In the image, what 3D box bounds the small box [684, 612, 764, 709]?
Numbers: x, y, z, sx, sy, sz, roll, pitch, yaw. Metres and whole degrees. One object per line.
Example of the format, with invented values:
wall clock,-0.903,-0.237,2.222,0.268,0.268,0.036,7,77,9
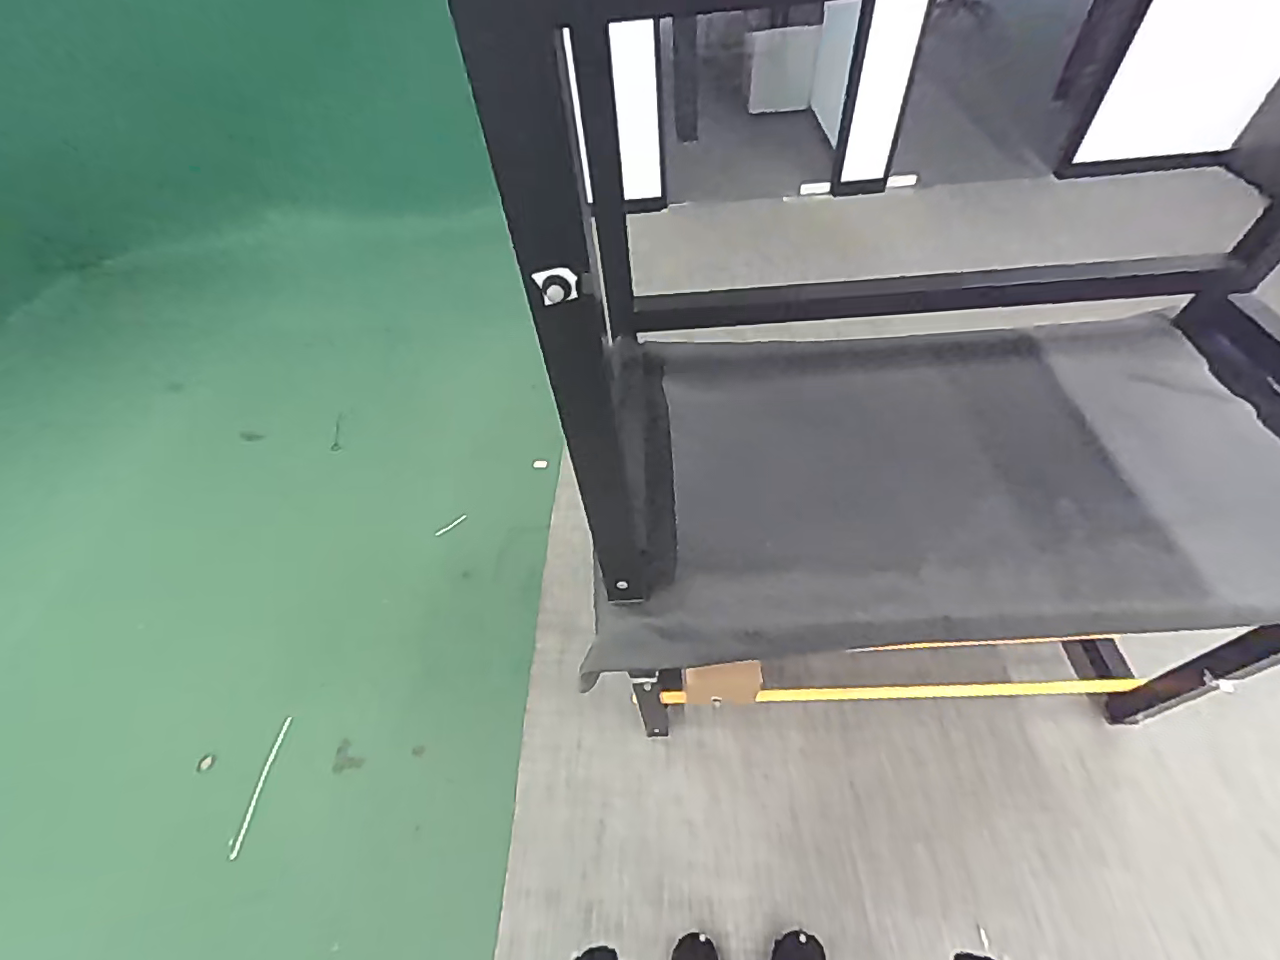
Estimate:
small box,0.191,0.430,1.285,0.168,0.176,0.179,-3,53,2
